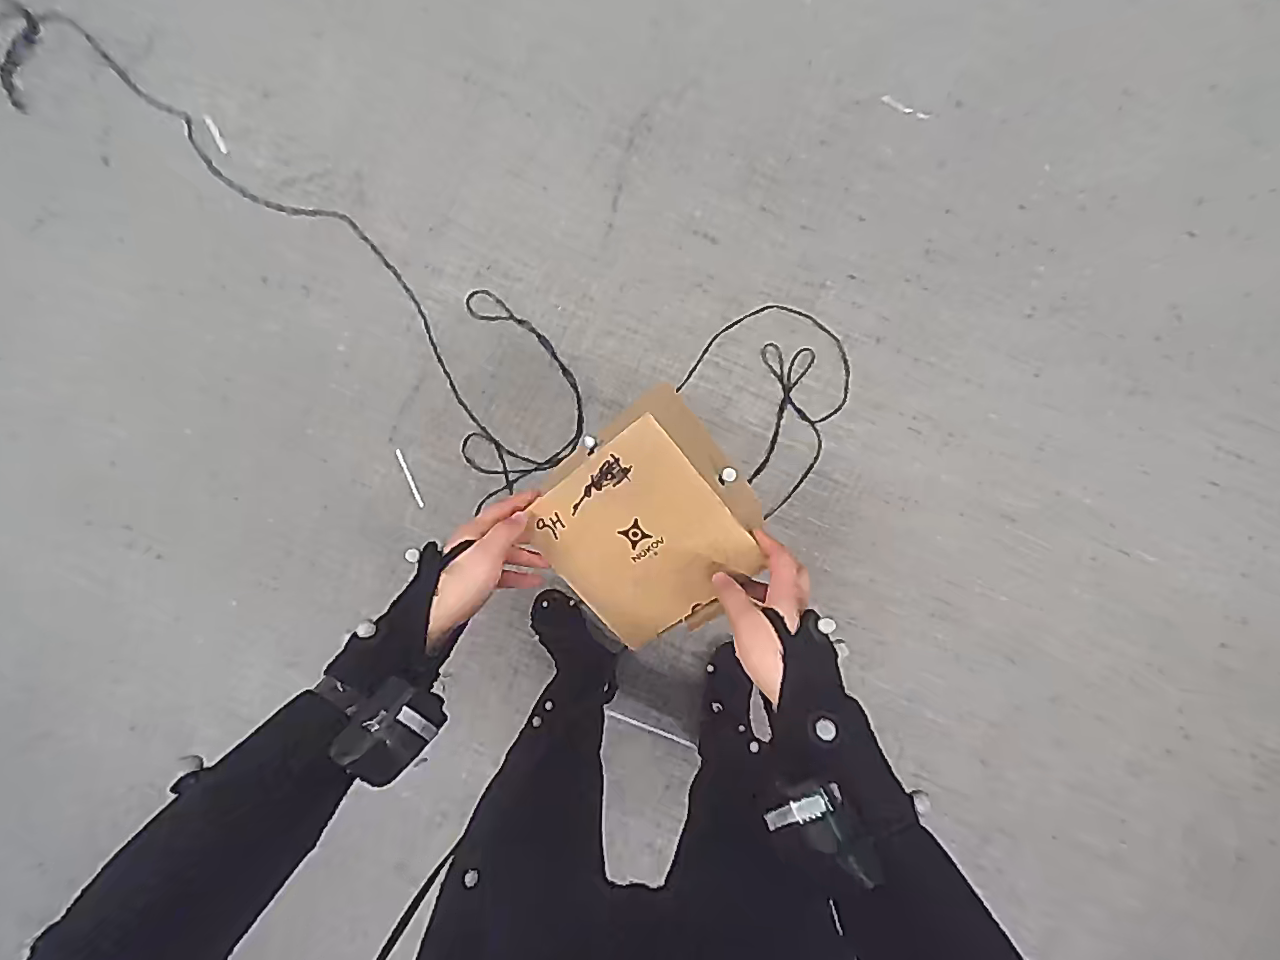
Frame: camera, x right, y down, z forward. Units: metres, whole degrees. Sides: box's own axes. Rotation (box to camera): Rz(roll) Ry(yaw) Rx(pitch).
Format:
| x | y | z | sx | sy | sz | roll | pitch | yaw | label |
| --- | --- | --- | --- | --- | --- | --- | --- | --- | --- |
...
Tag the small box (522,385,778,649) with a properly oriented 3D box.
| x | y | z | sx | sy | sz | roll | pitch | yaw | label |
| --- | --- | --- | --- | --- | --- | --- | --- | --- | --- |
| 0.018 | 0.027 | 0.552 | 0.168 | 0.176 | 0.179 | -36 | 103 | 18 | small box |
